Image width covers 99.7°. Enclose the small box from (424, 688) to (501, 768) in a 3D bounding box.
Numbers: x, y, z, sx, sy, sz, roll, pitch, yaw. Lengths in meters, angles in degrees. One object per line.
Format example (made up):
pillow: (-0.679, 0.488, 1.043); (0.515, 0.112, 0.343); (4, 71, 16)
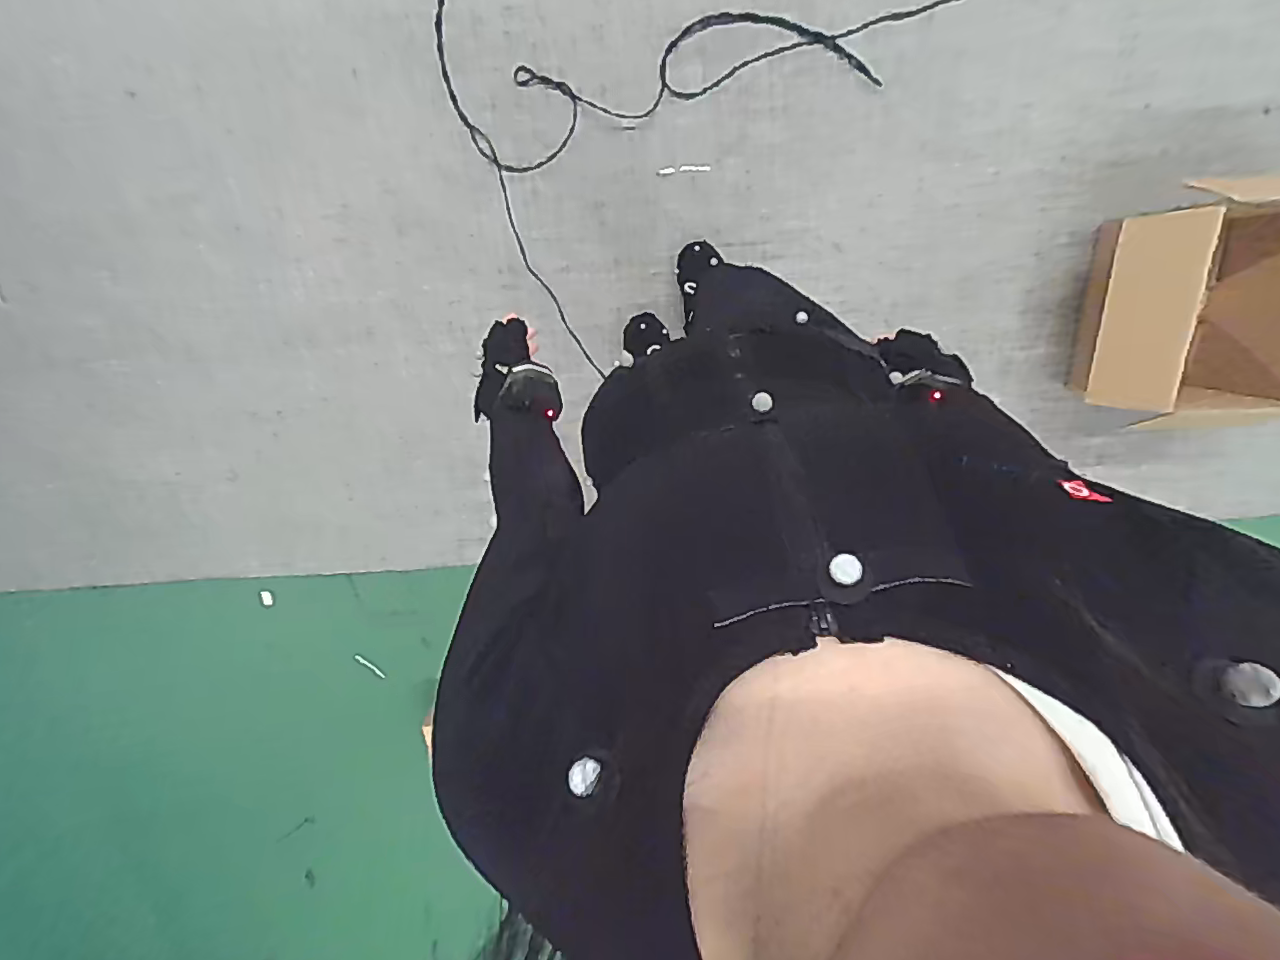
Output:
small box: (-0.554, 0.781, 1.710); (0.179, 0.176, 0.168); (-2, 110, 1)
